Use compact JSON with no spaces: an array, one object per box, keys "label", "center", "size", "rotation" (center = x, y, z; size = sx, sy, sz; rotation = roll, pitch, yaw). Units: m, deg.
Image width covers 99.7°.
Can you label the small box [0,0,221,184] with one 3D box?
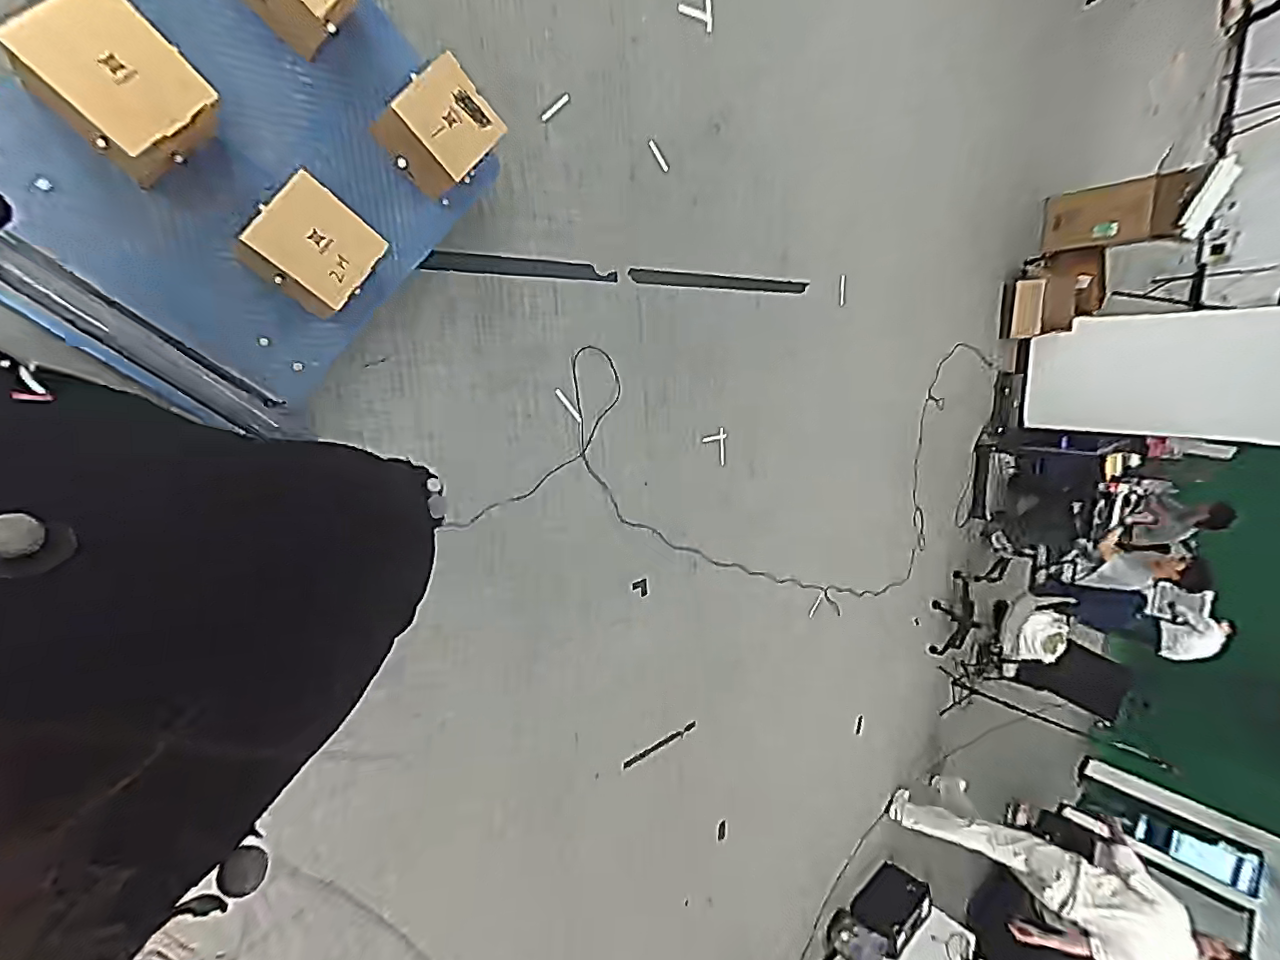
[{"label":"small box","center":[-0.803,-0.601,0.837],"size":[0.168,0.176,0.179],"rotation":[-56,129,-18]}]

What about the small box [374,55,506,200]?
[{"label":"small box","center":[-0.423,-0.725,1.131],"size":[0.168,0.176,0.179],"rotation":[46,70,-36]}]

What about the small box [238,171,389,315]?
[{"label":"small box","center":[-0.620,-0.431,1.021],"size":[0.179,0.176,0.168],"rotation":[41,72,-37]}]
